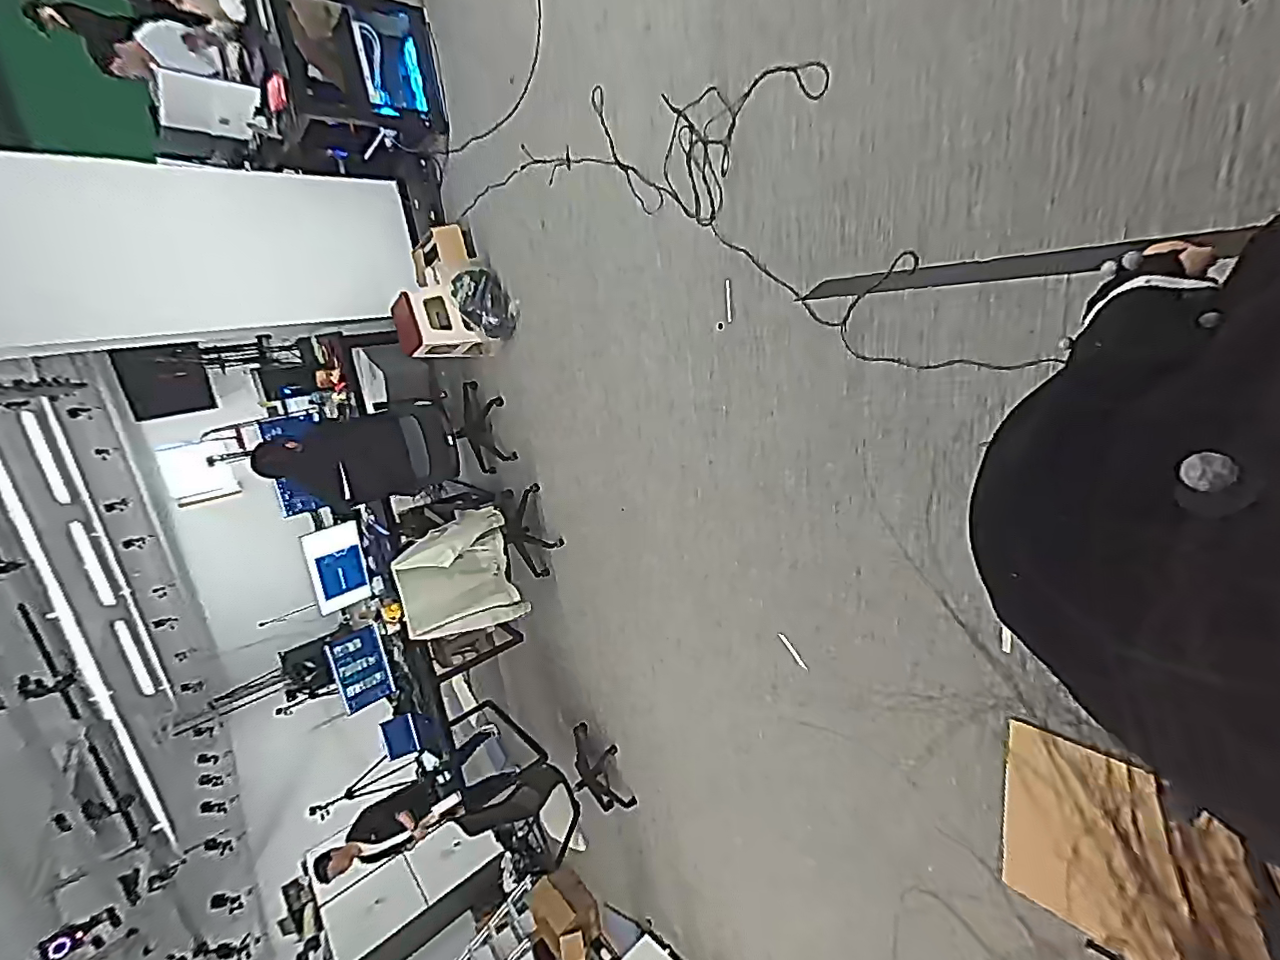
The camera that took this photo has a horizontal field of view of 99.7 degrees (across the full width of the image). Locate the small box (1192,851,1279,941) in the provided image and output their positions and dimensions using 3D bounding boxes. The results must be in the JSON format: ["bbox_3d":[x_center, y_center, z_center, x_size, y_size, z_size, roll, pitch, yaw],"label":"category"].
[{"bbox_3d":[1.319,0.967,1.174,0.168,0.176,0.179,7,112,50],"label":"small box"}]

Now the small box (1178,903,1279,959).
[{"bbox_3d":[1.196,1.015,1.076,0.168,0.176,0.179,5,111,50],"label":"small box"}]
